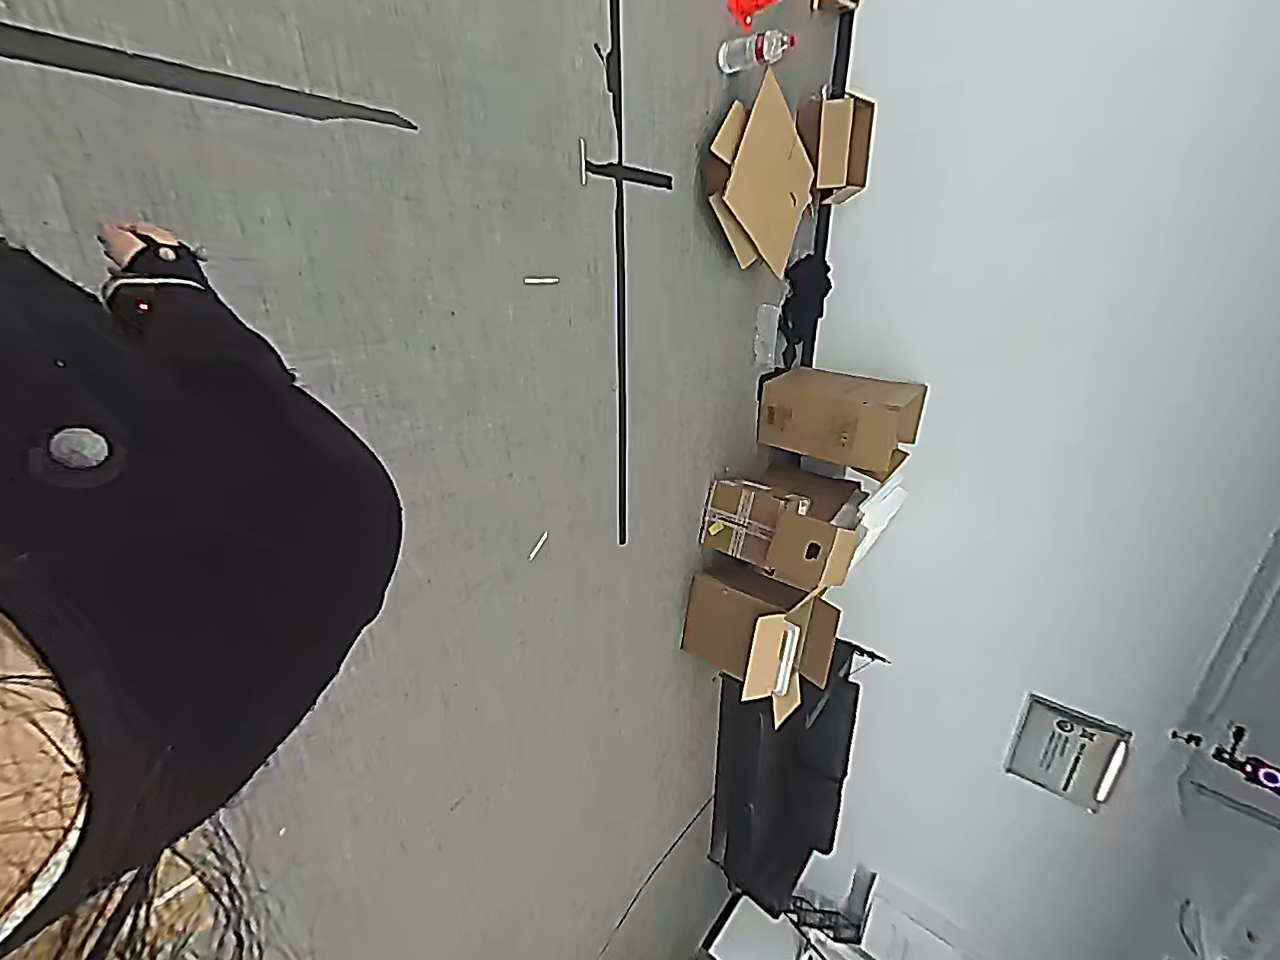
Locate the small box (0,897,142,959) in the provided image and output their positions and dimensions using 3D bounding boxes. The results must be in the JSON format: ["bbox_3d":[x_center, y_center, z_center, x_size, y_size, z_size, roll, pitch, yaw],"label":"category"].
[{"bbox_3d":[-1.028,0.917,0.974,0.179,0.176,0.168,-25,121,-45],"label":"small box"}]
